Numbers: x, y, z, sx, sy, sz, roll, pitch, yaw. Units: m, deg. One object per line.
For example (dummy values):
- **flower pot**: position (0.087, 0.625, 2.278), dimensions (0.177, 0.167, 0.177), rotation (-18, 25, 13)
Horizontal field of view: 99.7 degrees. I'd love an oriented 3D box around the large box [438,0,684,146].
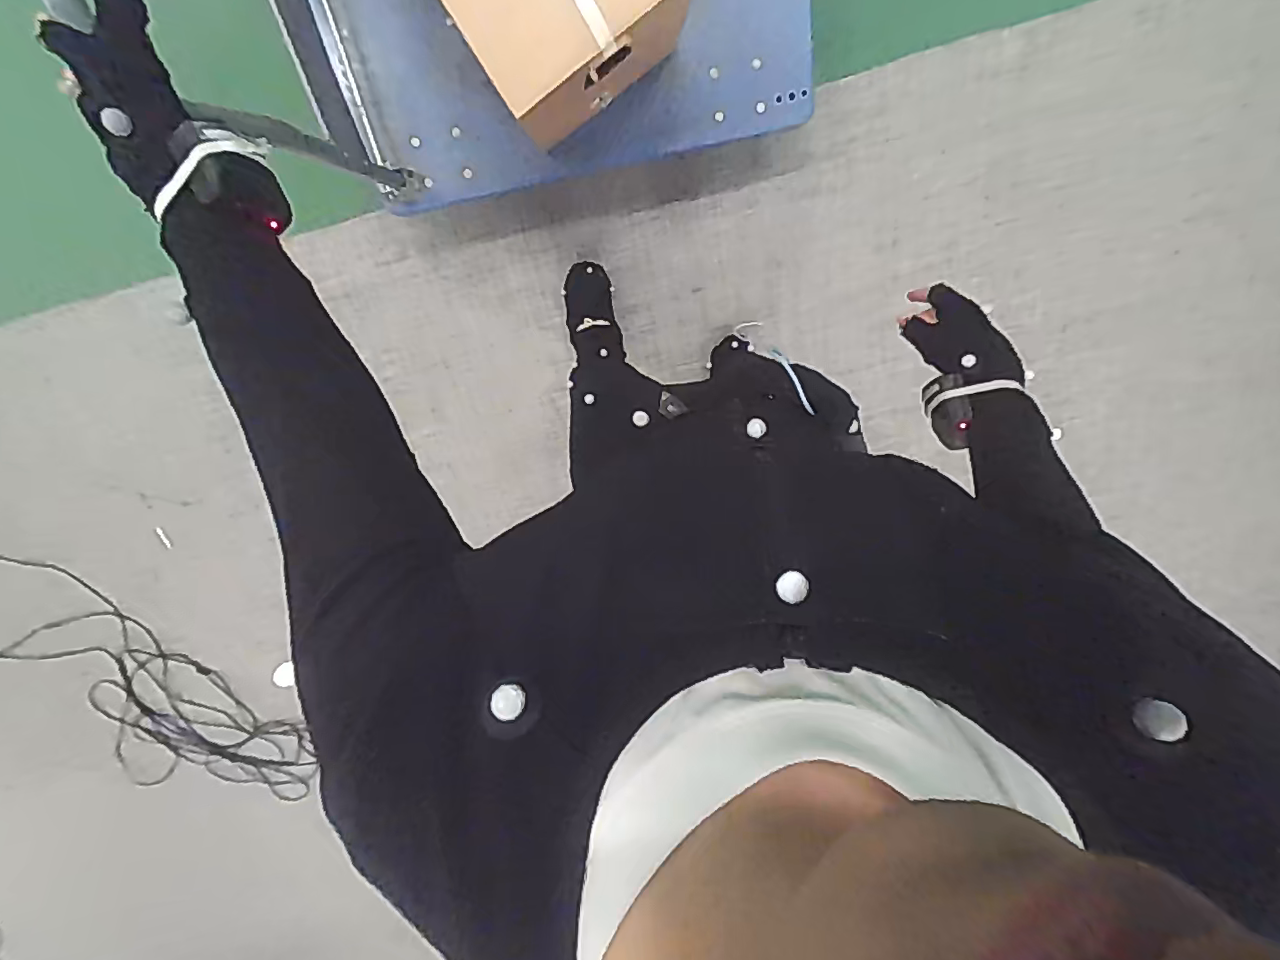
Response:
- **large box**: position (-0.165, -0.811, 0.816), dimensions (0.320, 0.320, 0.408), rotation (-32, 110, 11)
